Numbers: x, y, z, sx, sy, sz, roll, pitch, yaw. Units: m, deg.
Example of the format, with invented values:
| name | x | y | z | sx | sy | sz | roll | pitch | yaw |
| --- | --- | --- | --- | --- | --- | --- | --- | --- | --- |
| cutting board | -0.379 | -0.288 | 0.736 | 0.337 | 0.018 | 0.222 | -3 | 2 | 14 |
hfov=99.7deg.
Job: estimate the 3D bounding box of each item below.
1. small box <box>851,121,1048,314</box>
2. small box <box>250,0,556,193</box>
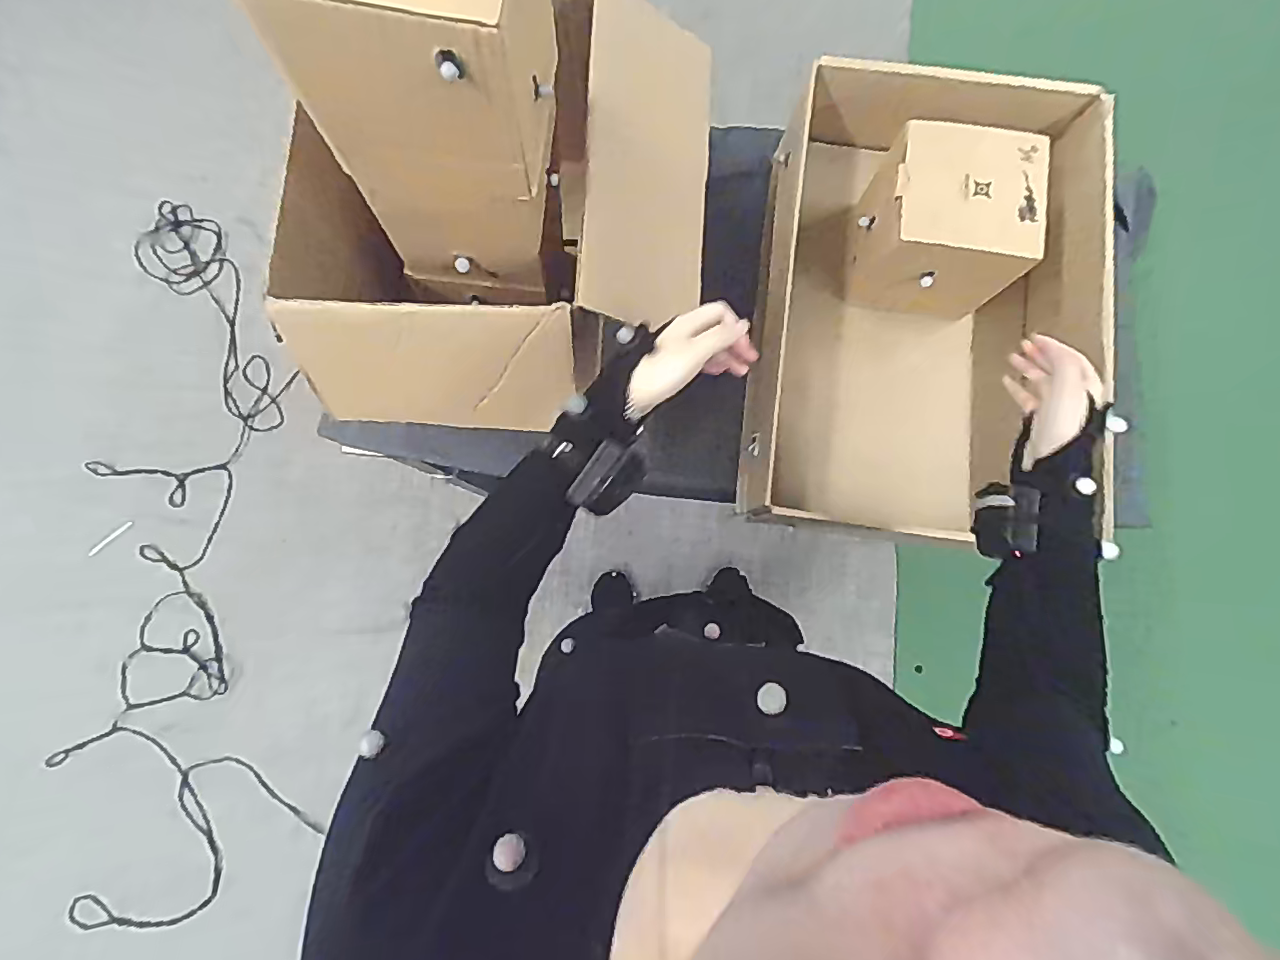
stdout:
| name | x | y | z | sx | sy | sz | roll | pitch | yaw |
| --- | --- | --- | --- | --- | --- | --- | --- | --- | --- |
| small box | 0.403 | -0.341 | 0.731 | 0.179 | 0.176 | 0.168 | 8 | 83 | 3 |
| small box | -0.170 | -0.364 | 0.435 | 0.179 | 0.176 | 0.168 | 6 | 80 | -4 |
